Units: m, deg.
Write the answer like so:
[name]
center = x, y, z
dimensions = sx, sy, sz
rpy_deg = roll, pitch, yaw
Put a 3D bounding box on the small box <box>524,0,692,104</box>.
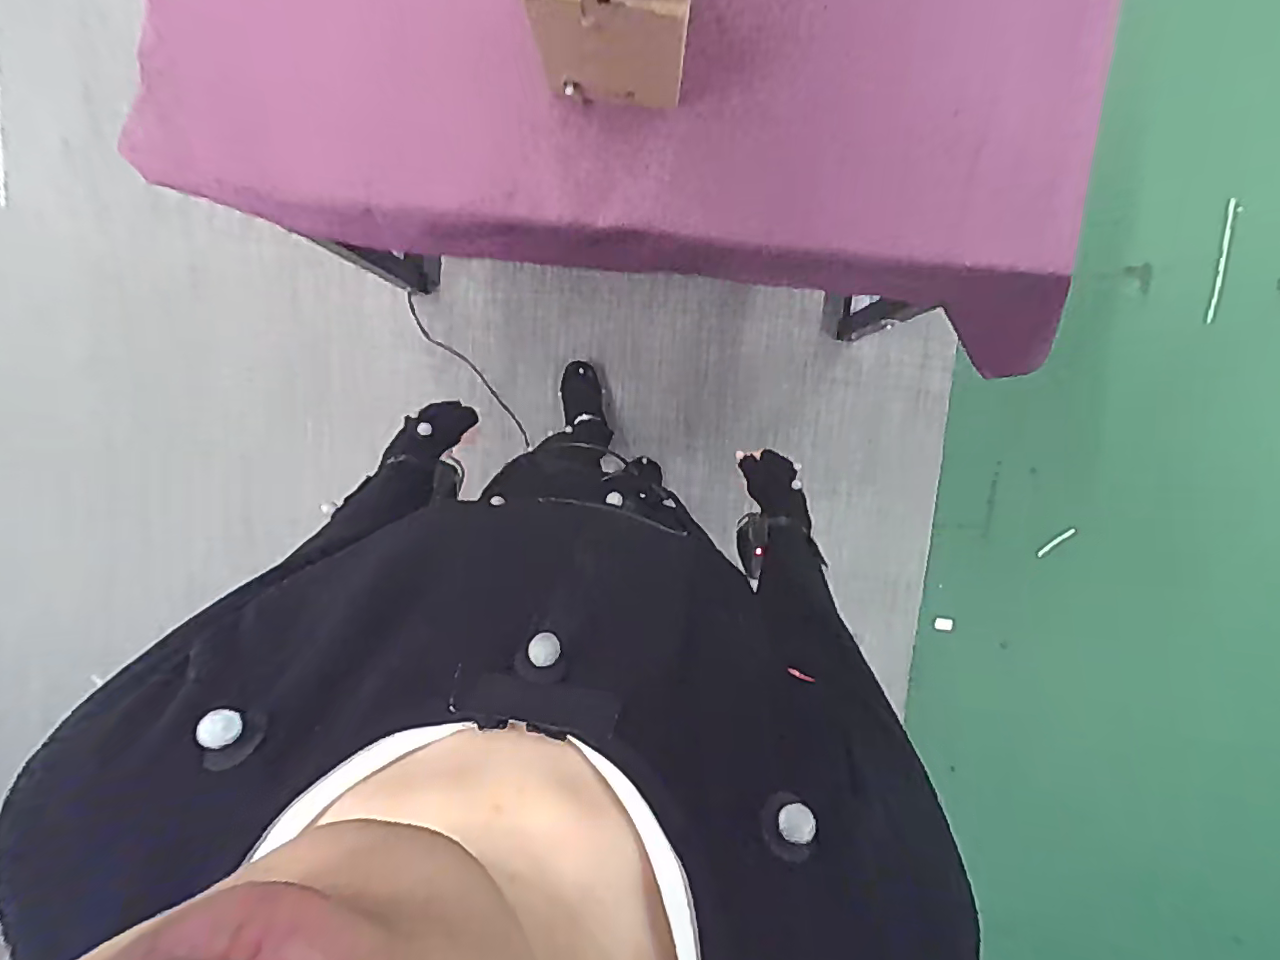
[small box]
center = -0.024, -0.561, 0.602
dimensions = 0.168, 0.176, 0.179
rpy_deg = 7, 95, 0
